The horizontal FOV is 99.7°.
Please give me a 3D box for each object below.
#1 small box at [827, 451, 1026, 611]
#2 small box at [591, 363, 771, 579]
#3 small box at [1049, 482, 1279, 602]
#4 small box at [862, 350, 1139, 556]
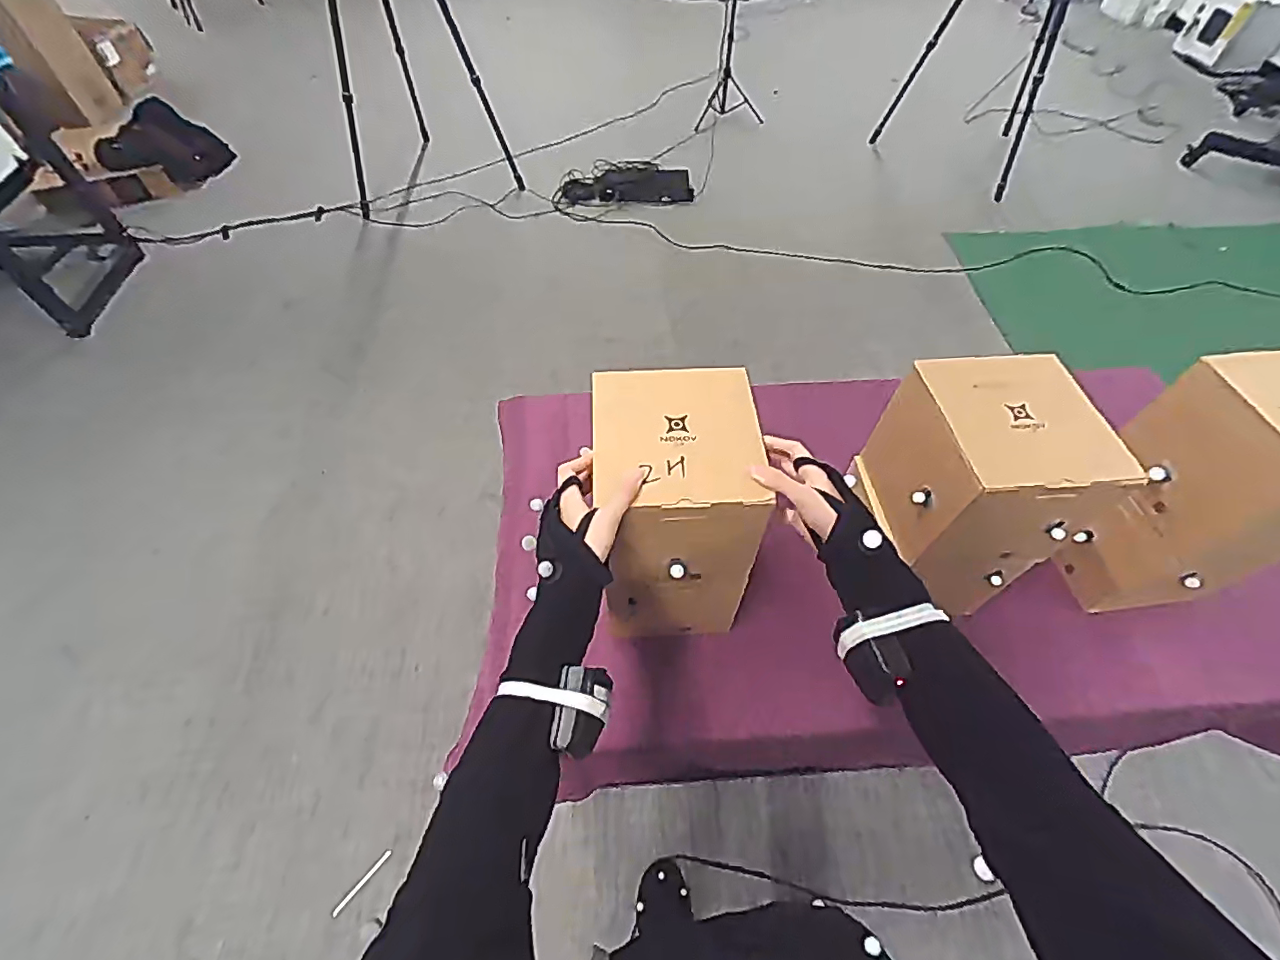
[{"bbox_3d":[0.373,0.072,0.745,0.179,0.176,0.168,-2,54,-2],"label":"small box"},{"bbox_3d":[0.034,-0.007,0.598,0.168,0.176,0.179,-3,54,-1],"label":"small box"},{"bbox_3d":[0.700,0.057,0.748,0.179,0.176,0.168,-6,55,-3],"label":"small box"},{"bbox_3d":[0.379,-0.023,0.613,0.168,0.176,0.179,-3,53,-3],"label":"small box"}]
